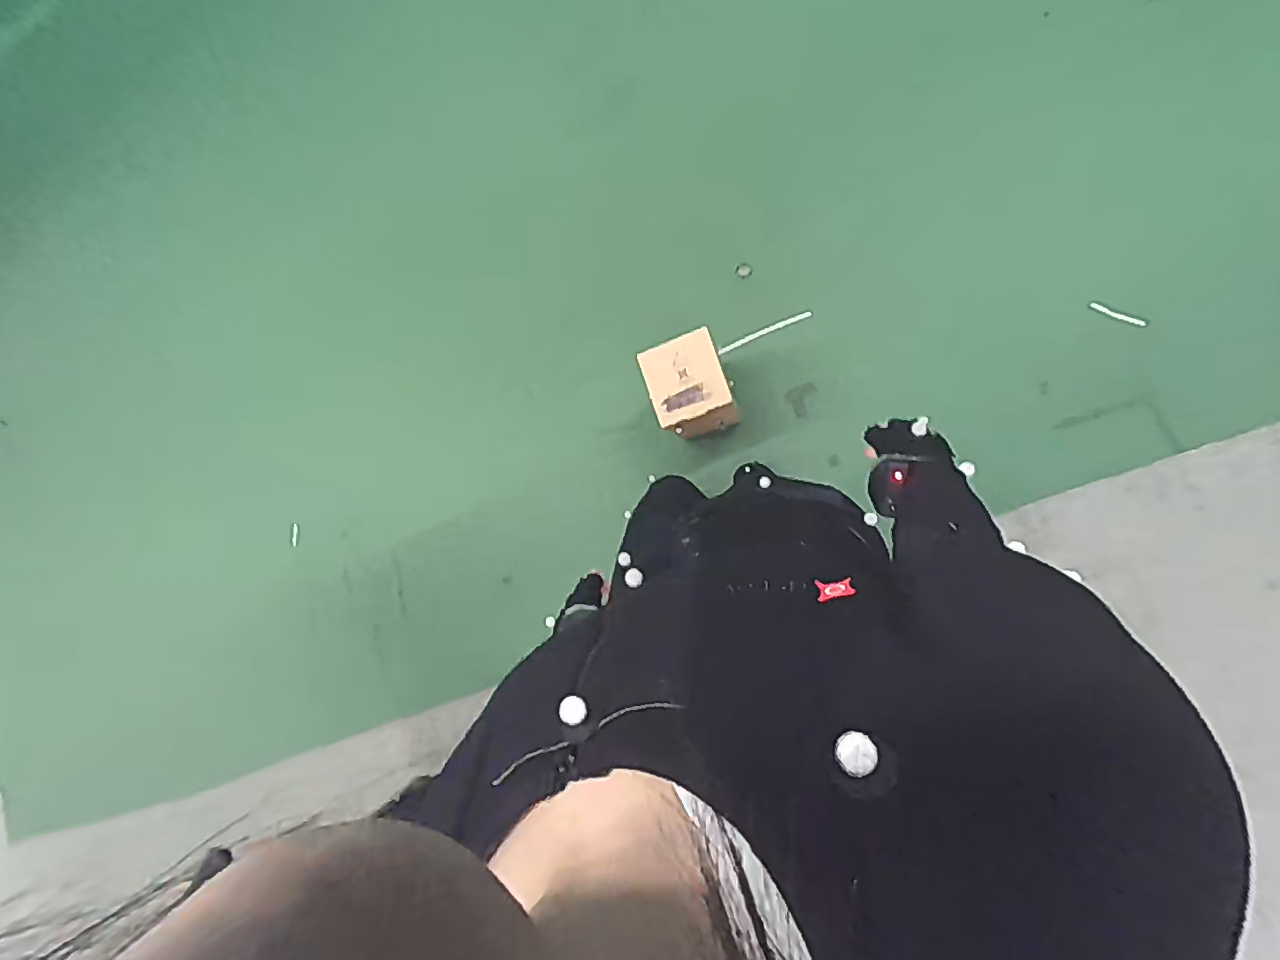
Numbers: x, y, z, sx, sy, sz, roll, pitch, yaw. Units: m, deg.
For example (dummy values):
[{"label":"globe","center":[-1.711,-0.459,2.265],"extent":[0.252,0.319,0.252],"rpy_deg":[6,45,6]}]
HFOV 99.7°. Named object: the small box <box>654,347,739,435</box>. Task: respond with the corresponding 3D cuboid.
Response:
[{"label":"small box","center":[0.153,-0.221,1.401],"extent":[0.168,0.176,0.179],"rpy_deg":[-17,86,14]}]
